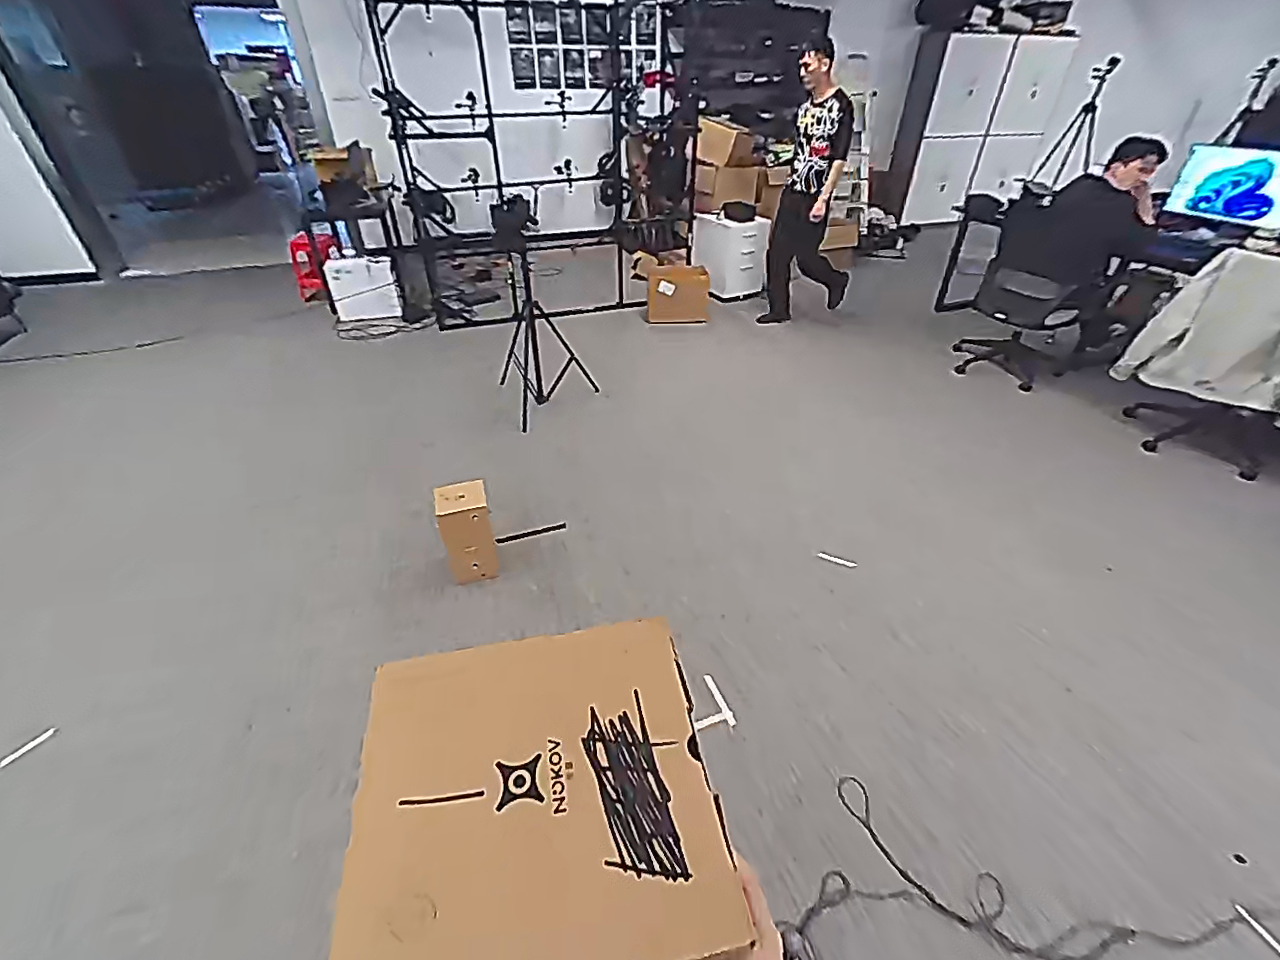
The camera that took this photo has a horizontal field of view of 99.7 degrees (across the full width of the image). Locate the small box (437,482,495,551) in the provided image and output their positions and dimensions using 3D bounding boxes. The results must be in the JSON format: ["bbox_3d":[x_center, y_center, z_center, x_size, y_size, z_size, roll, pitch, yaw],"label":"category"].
[{"bbox_3d":[-0.627,0.133,1.959,0.179,0.176,0.168,-12,37,-15],"label":"small box"}]

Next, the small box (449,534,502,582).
[{"bbox_3d":[-0.626,0.269,2.055,0.168,0.176,0.179,-11,38,-14],"label":"small box"}]

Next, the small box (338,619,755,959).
[{"bbox_3d":[-0.052,0.211,0.327,0.179,0.176,0.168,-7,43,-9],"label":"small box"}]
